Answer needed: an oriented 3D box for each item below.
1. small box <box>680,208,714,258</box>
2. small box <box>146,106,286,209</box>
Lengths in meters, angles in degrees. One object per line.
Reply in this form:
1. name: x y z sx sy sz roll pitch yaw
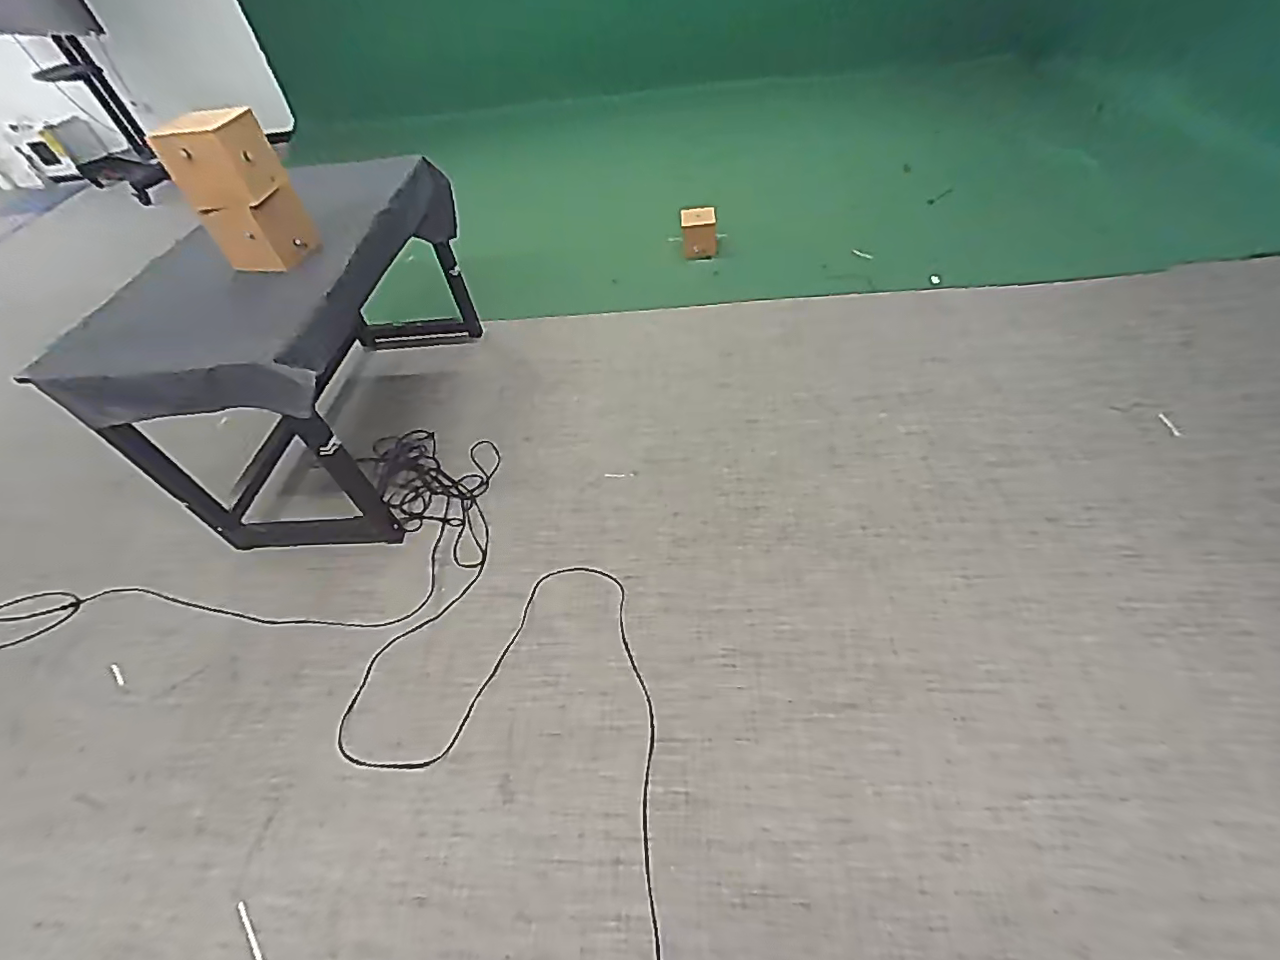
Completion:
1. small box: 0.287 -1.242 2.721 0.168 0.176 0.179 -3 50 6
2. small box: -1.020 -0.785 1.323 0.179 0.176 0.168 -1 50 7
